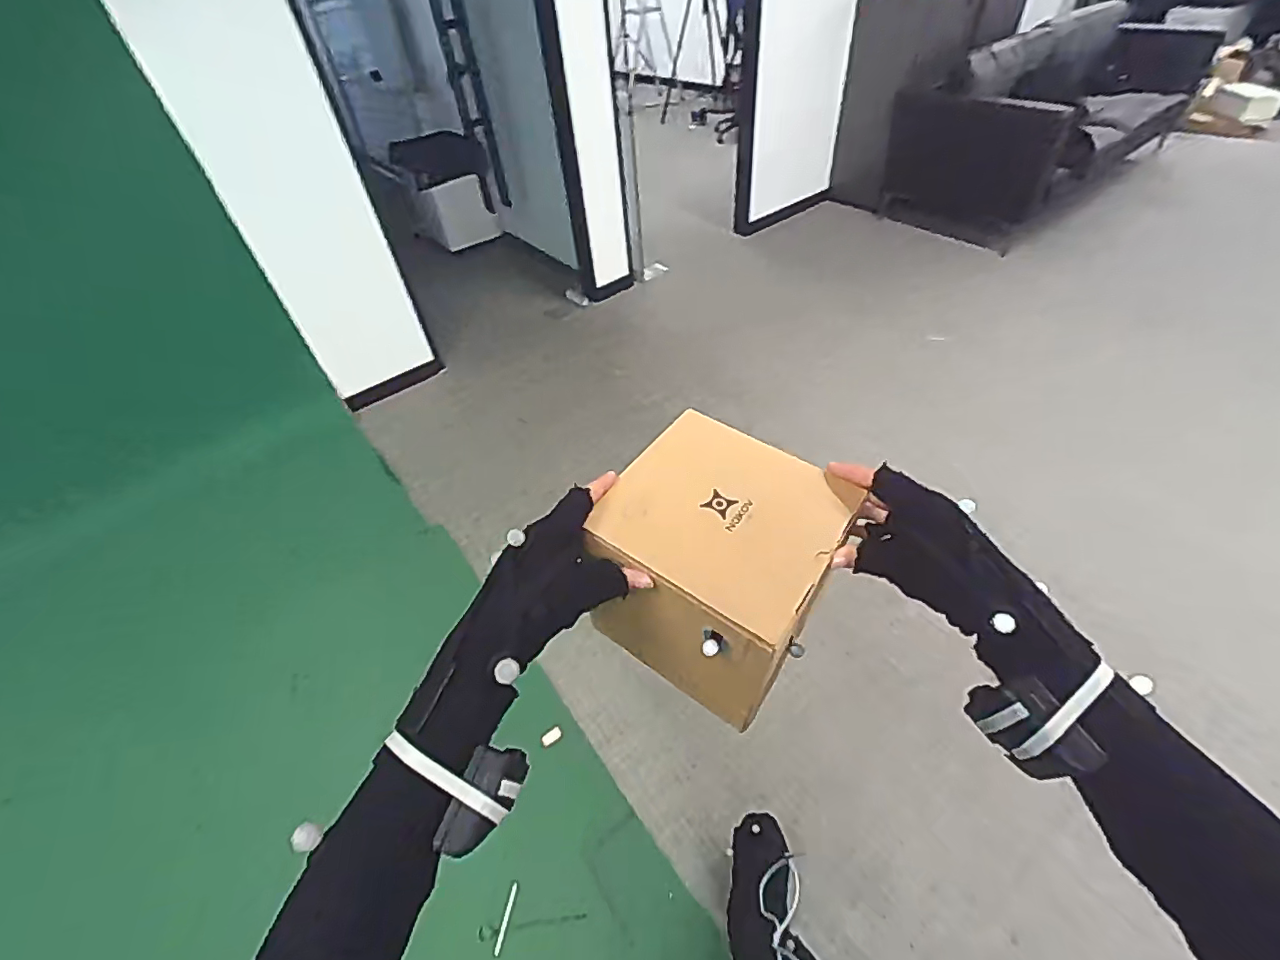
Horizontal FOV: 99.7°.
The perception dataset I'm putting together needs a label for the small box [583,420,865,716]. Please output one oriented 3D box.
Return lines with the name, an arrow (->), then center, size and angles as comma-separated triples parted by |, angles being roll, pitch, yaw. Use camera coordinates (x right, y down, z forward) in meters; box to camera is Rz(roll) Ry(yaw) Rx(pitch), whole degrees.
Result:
small box -> 0.069, 0.081, 0.495 | 0.179, 0.176, 0.168 | 29, 54, 24
